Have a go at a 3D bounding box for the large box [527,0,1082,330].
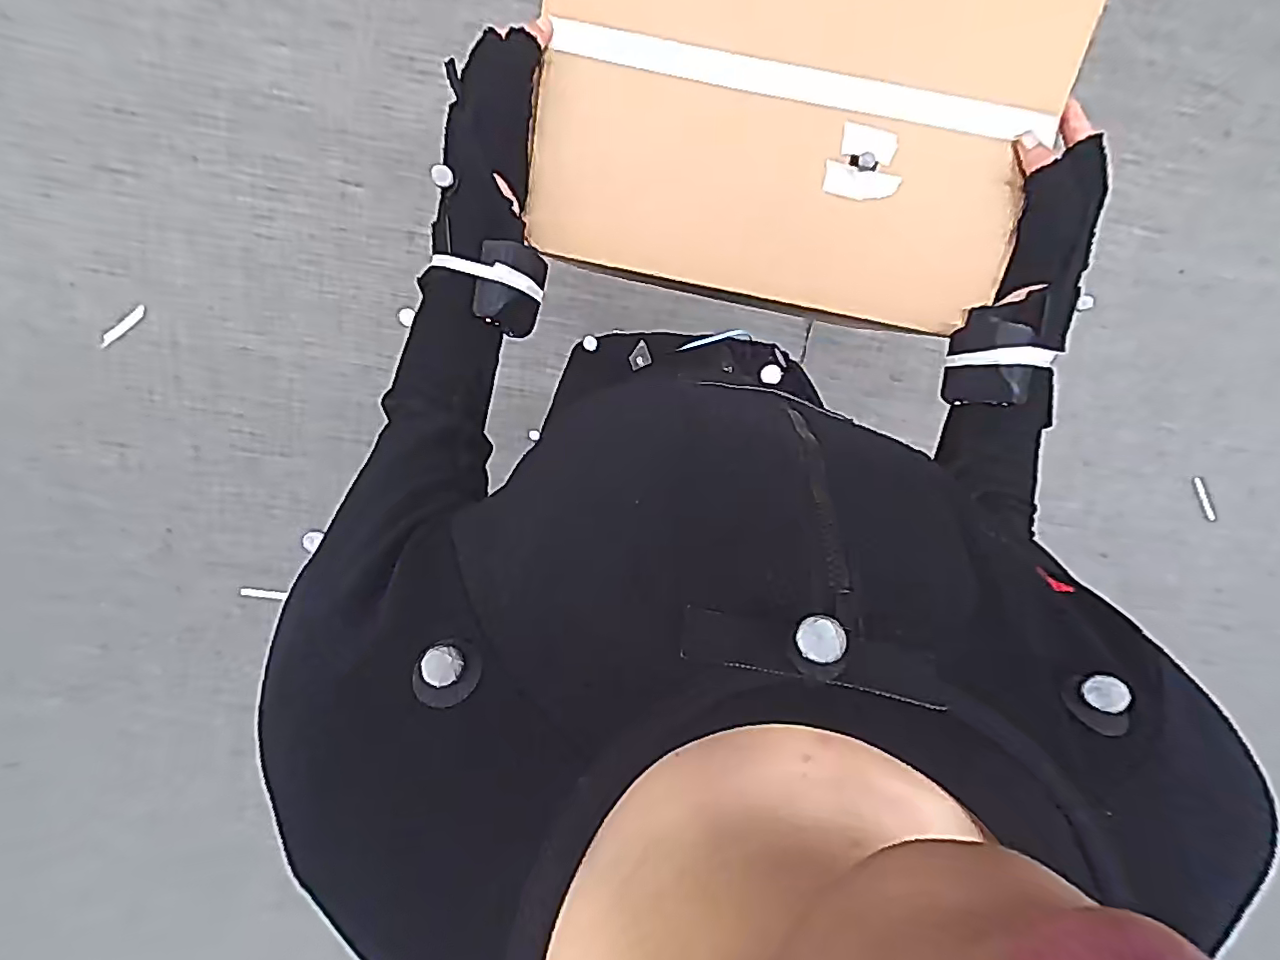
[{"bbox_3d":[0.127,-0.358,0.576,0.408,0.320,0.320,12,109,0],"label":"large box"}]
